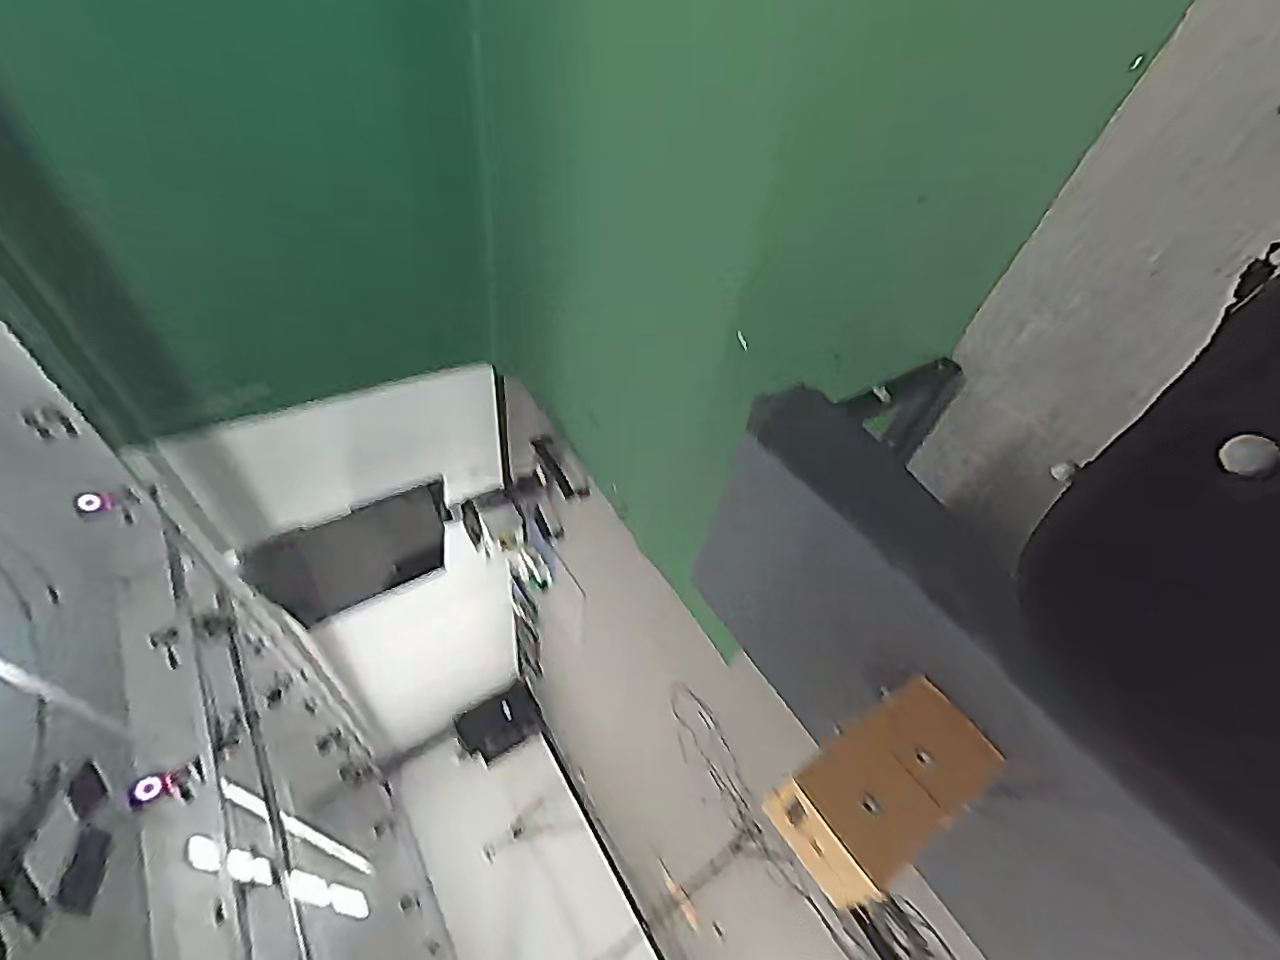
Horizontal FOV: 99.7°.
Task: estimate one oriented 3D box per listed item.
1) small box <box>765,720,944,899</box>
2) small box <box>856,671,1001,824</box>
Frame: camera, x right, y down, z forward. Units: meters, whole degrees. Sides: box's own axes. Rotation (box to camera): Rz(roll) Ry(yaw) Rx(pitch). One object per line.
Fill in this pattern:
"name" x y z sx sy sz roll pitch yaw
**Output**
"small box" 0.340 0.521 0.875 0.179 0.176 0.168 48 147 35
"small box" 0.479 0.474 0.949 0.179 0.176 0.168 51 148 32
